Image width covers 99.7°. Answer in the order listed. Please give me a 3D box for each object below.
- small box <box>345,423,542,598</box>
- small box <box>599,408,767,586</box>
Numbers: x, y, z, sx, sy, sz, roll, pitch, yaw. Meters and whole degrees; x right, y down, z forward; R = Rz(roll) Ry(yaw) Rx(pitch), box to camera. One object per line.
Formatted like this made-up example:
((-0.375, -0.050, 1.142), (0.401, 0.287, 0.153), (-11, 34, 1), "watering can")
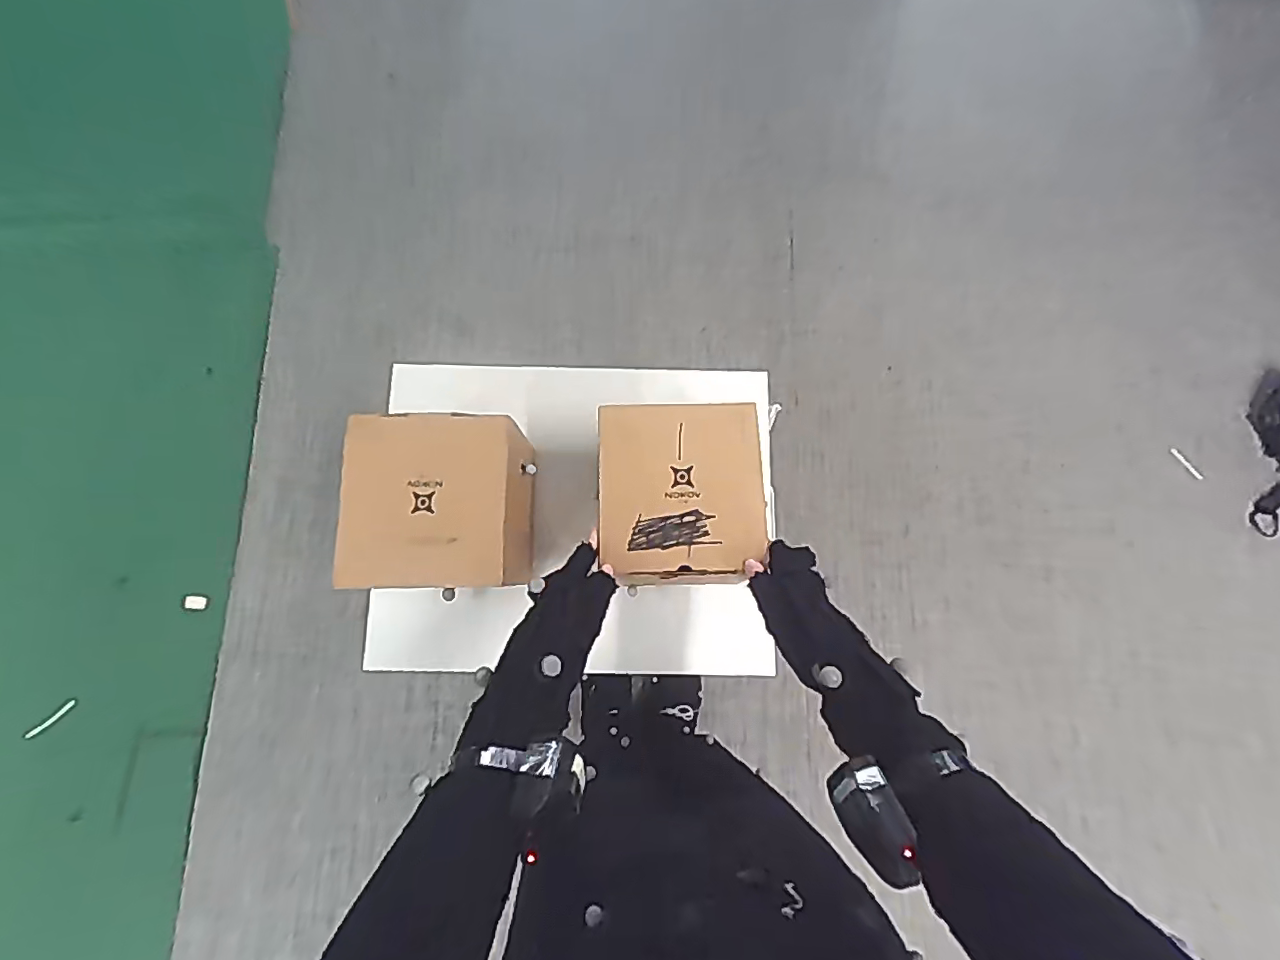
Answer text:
((-0.210, 0.042, 0.621), (0.168, 0.176, 0.179), (-2, 81, 0), "small box")
((0.042, 0.030, 0.616), (0.168, 0.176, 0.179), (-2, 76, 0), "small box")
